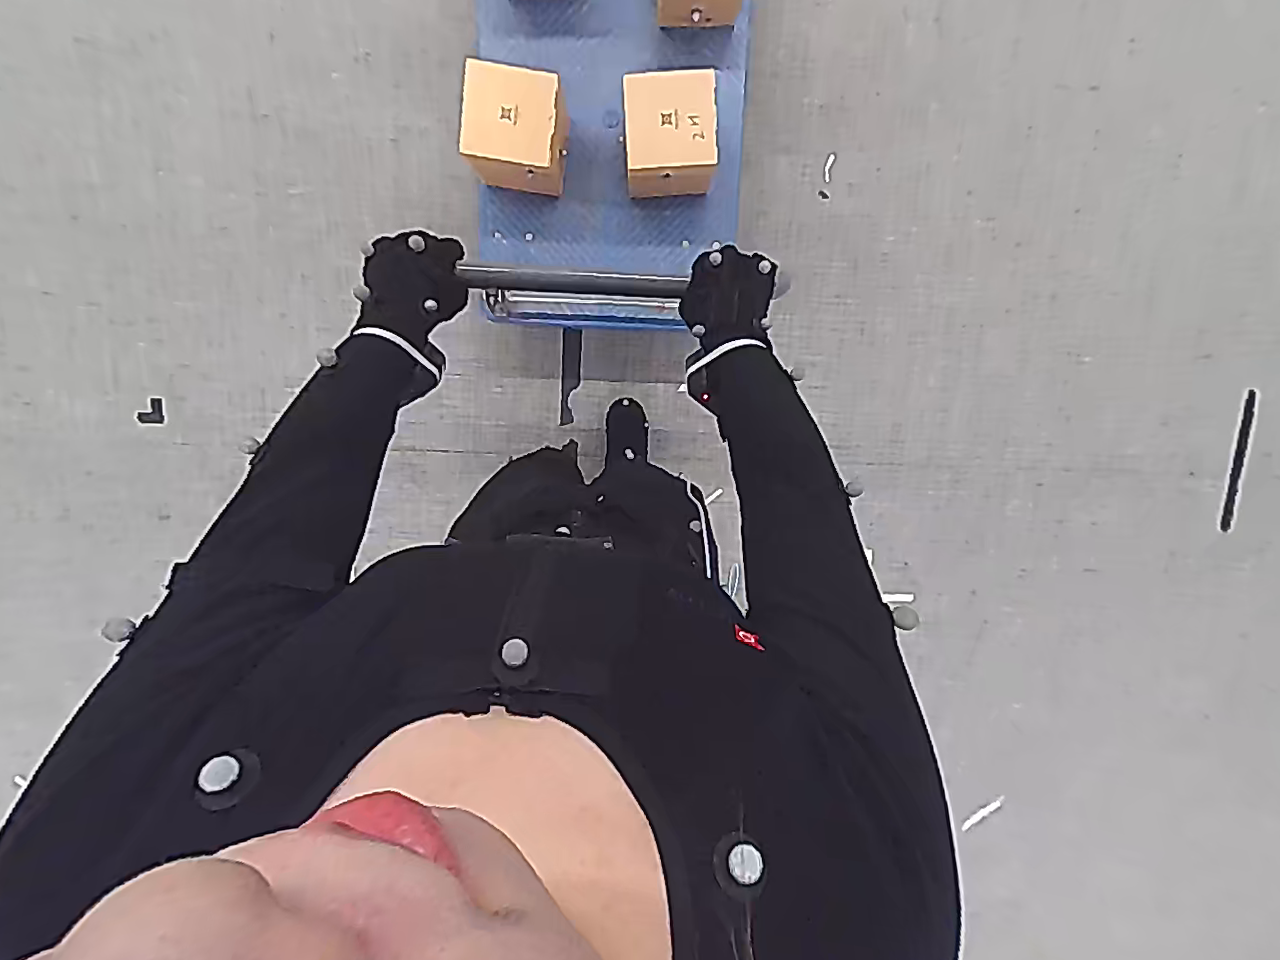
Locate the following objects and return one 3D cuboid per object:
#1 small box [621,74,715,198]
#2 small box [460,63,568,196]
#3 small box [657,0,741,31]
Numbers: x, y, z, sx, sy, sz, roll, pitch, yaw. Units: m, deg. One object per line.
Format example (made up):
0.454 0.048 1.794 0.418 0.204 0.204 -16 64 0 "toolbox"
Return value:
0.057 -0.693 1.107 0.179 0.176 0.168 -3 101 0 "small box"
-0.250 -0.702 1.104 0.179 0.176 0.168 8 100 -3 "small box"
0.117 -1.020 1.044 0.168 0.176 0.179 -1 102 0 "small box"
